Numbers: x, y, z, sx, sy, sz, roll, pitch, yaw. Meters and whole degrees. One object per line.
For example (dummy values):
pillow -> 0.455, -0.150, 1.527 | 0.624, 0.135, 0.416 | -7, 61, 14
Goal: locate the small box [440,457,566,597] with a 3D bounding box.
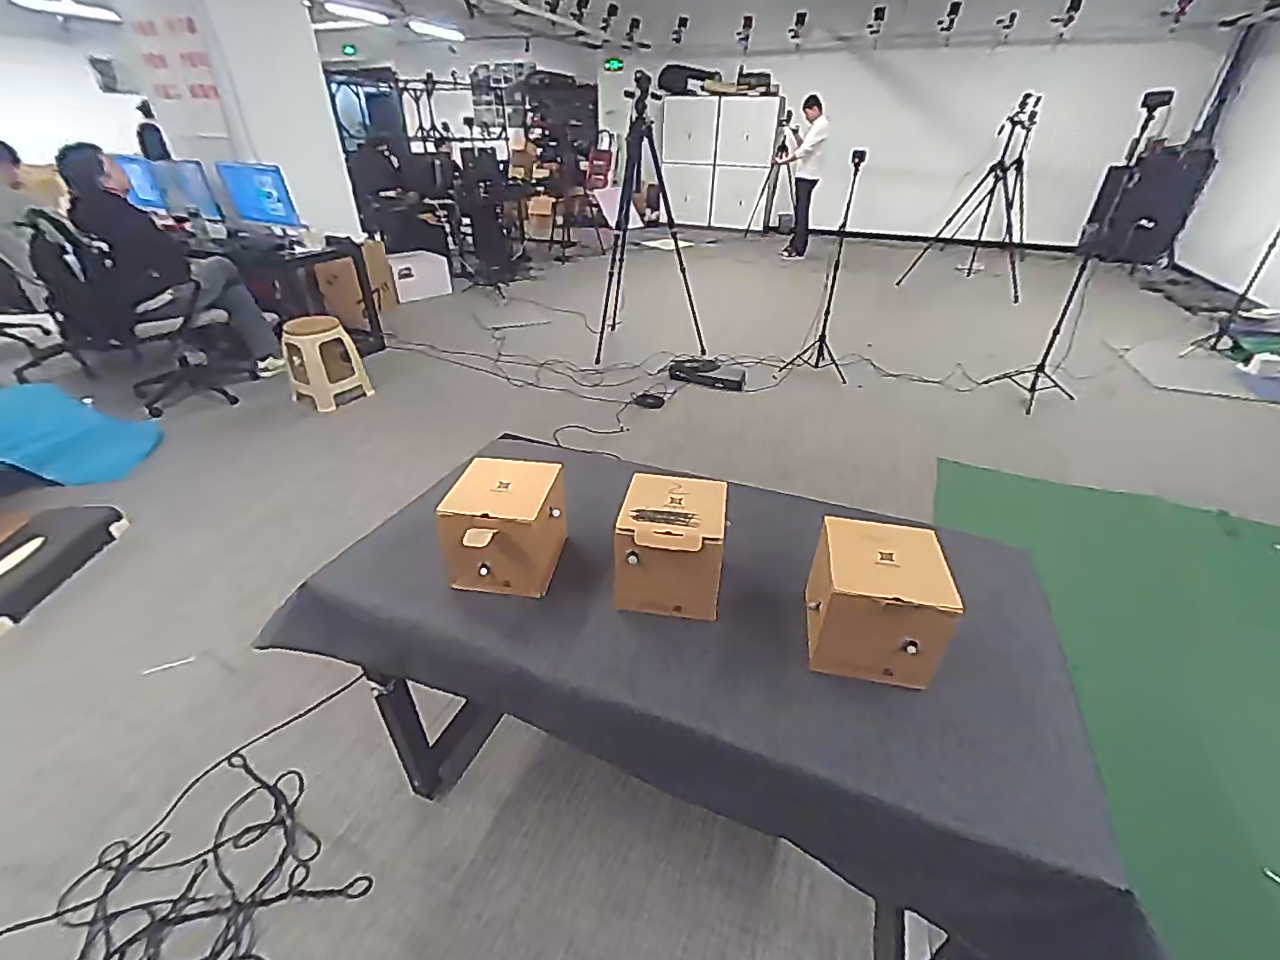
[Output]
small box -> -0.230, 0.080, 0.961 | 0.168, 0.176, 0.179 | 5, 33, 6

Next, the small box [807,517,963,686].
small box -> 0.353, 0.181, 0.817 | 0.168, 0.176, 0.179 | 8, 32, 9
